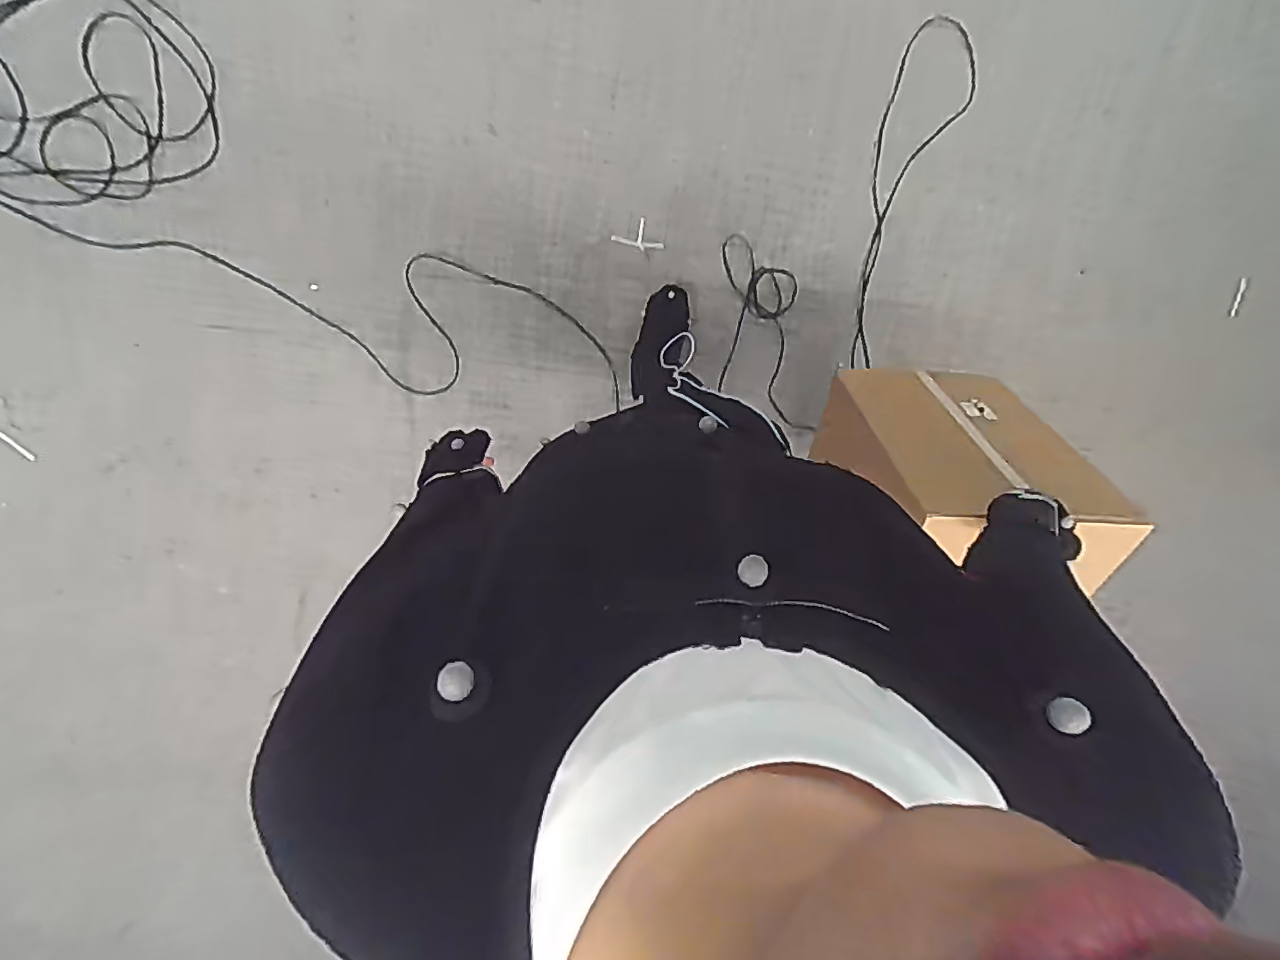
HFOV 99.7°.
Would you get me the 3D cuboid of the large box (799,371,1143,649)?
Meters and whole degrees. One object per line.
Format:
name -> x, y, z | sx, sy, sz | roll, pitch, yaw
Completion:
large box -> 0.510, 0.042, 0.957 | 0.320, 0.408, 0.320 | 3, 128, -3
